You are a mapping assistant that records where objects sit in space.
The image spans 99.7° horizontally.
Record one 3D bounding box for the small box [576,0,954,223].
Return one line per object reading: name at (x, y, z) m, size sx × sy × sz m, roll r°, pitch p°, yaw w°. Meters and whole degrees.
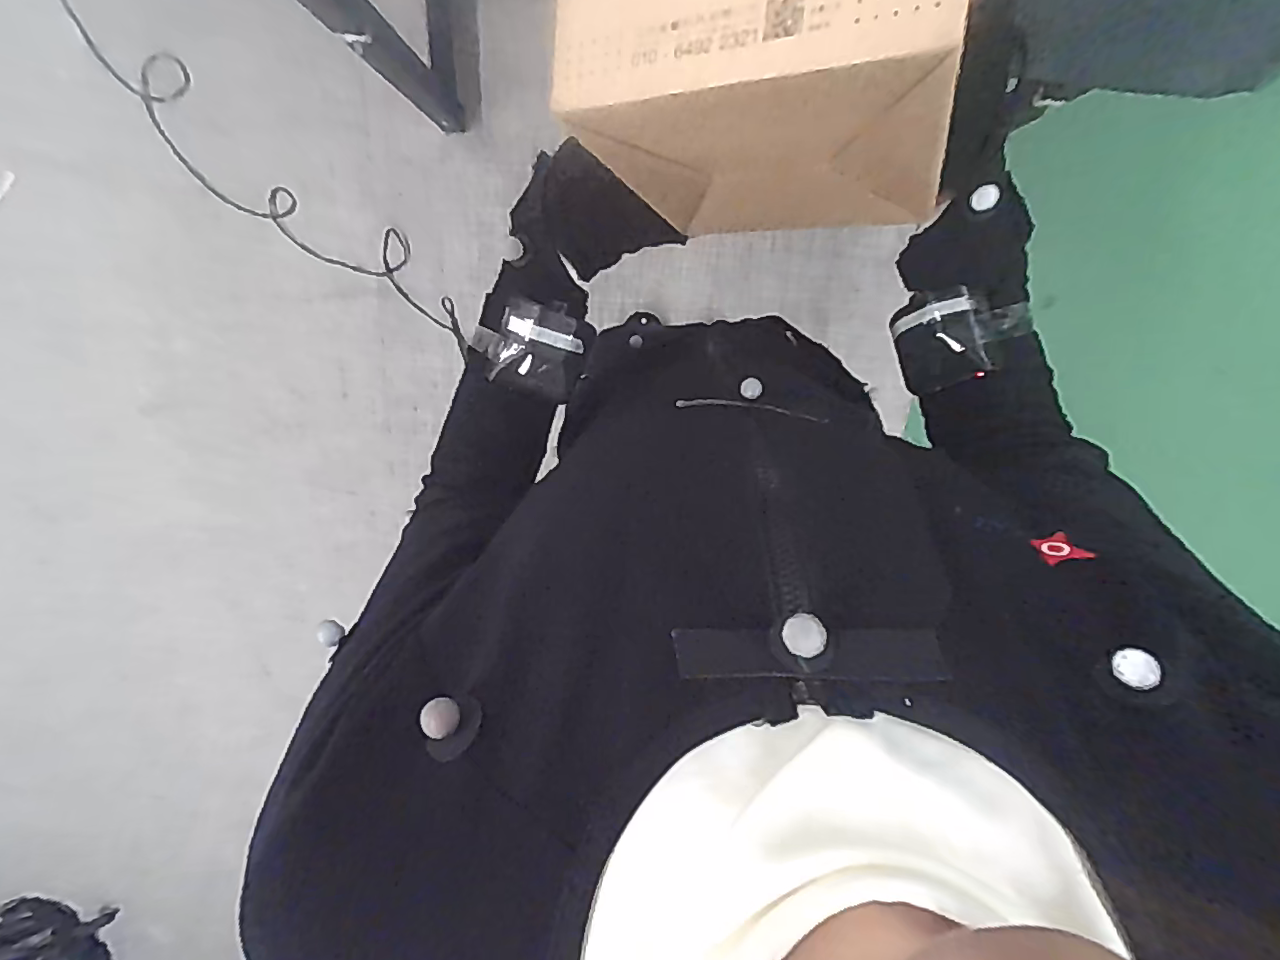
small box at (0.076, -0.253, 0.291) m, size 0.168 × 0.179 × 0.176 m, roll 8°, pitch 99°, yaw 24°
